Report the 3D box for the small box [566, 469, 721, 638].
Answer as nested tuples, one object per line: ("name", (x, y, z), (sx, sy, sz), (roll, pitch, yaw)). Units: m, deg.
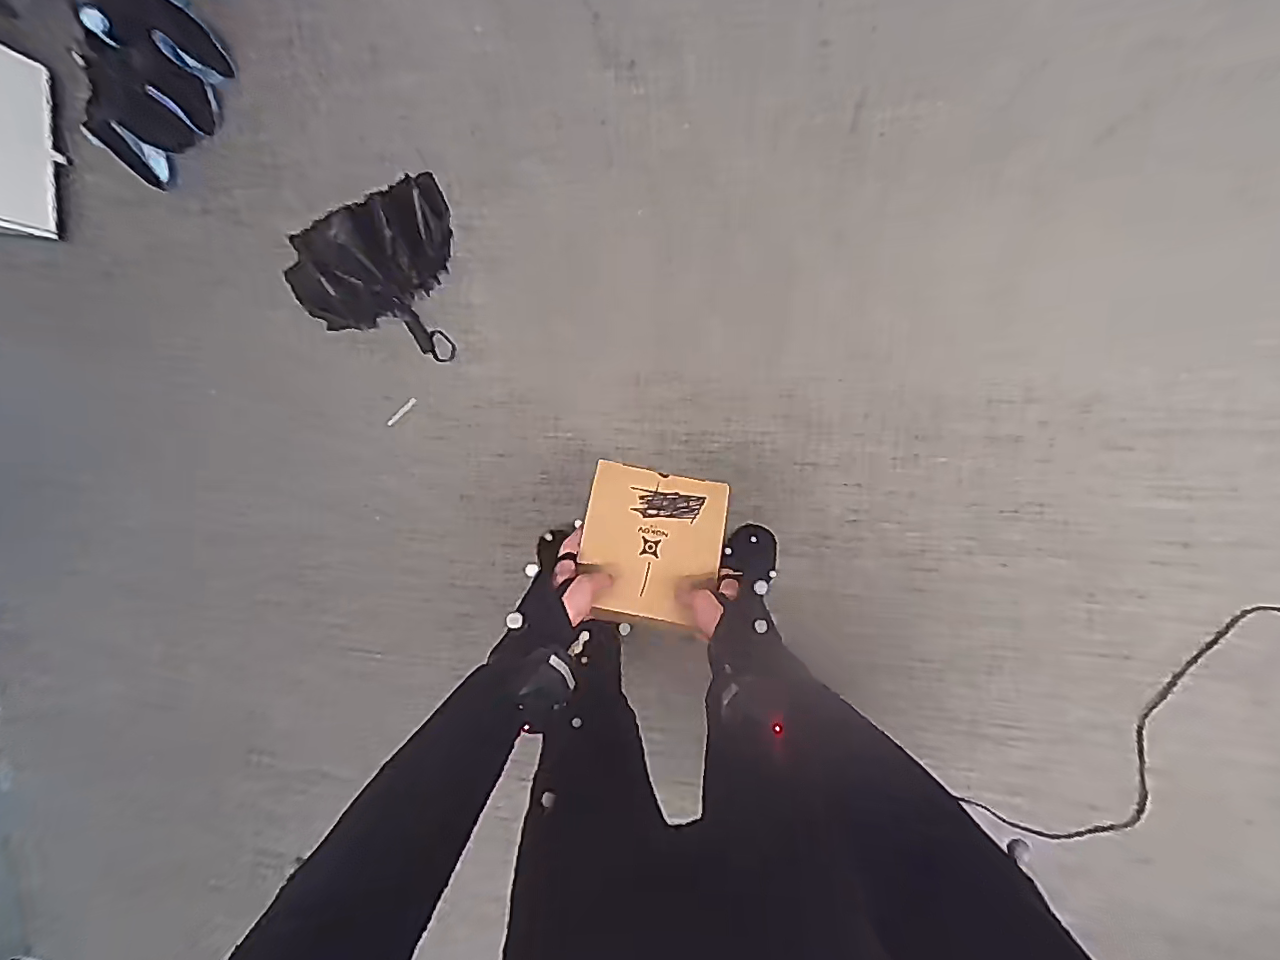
("small box", (0.001, 0.107, 0.721), (0.168, 0.176, 0.179), (11, 72, -1))
